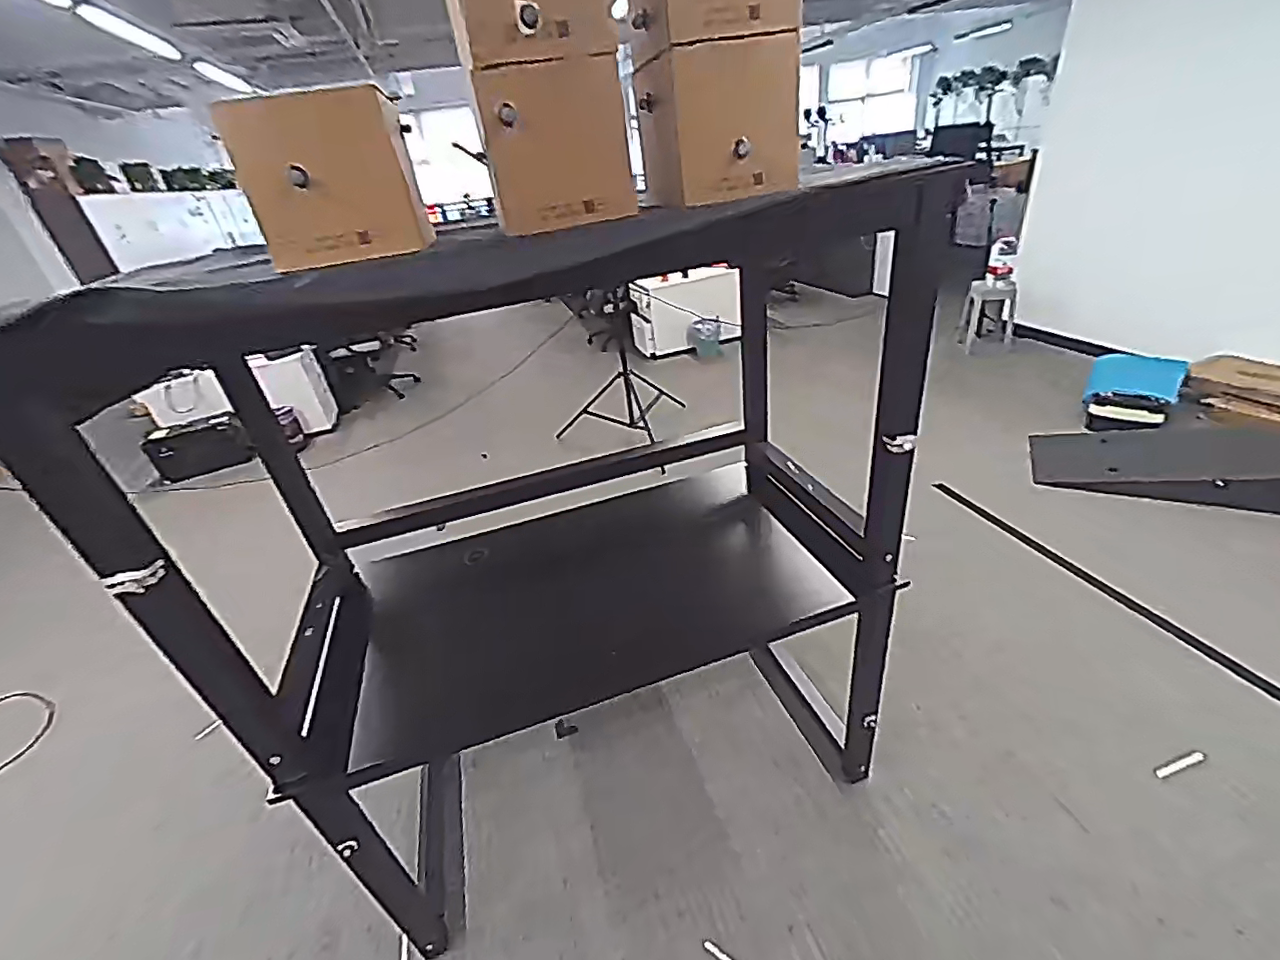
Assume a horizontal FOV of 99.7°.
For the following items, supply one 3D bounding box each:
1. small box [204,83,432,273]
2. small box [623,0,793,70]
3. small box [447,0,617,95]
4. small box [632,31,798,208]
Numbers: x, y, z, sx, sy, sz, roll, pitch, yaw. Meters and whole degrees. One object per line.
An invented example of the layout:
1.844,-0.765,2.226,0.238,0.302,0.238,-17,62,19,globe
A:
-0.365,-0.357,0.657,0.168,0.176,0.179,-14,30,-9,small box
0.075,-0.614,0.649,0.168,0.176,0.179,-14,31,-9,small box
-0.136,-0.561,0.620,0.168,0.176,0.179,-17,31,-11,small box
0.096,-0.472,0.731,0.168,0.176,0.179,-16,31,-9,small box
